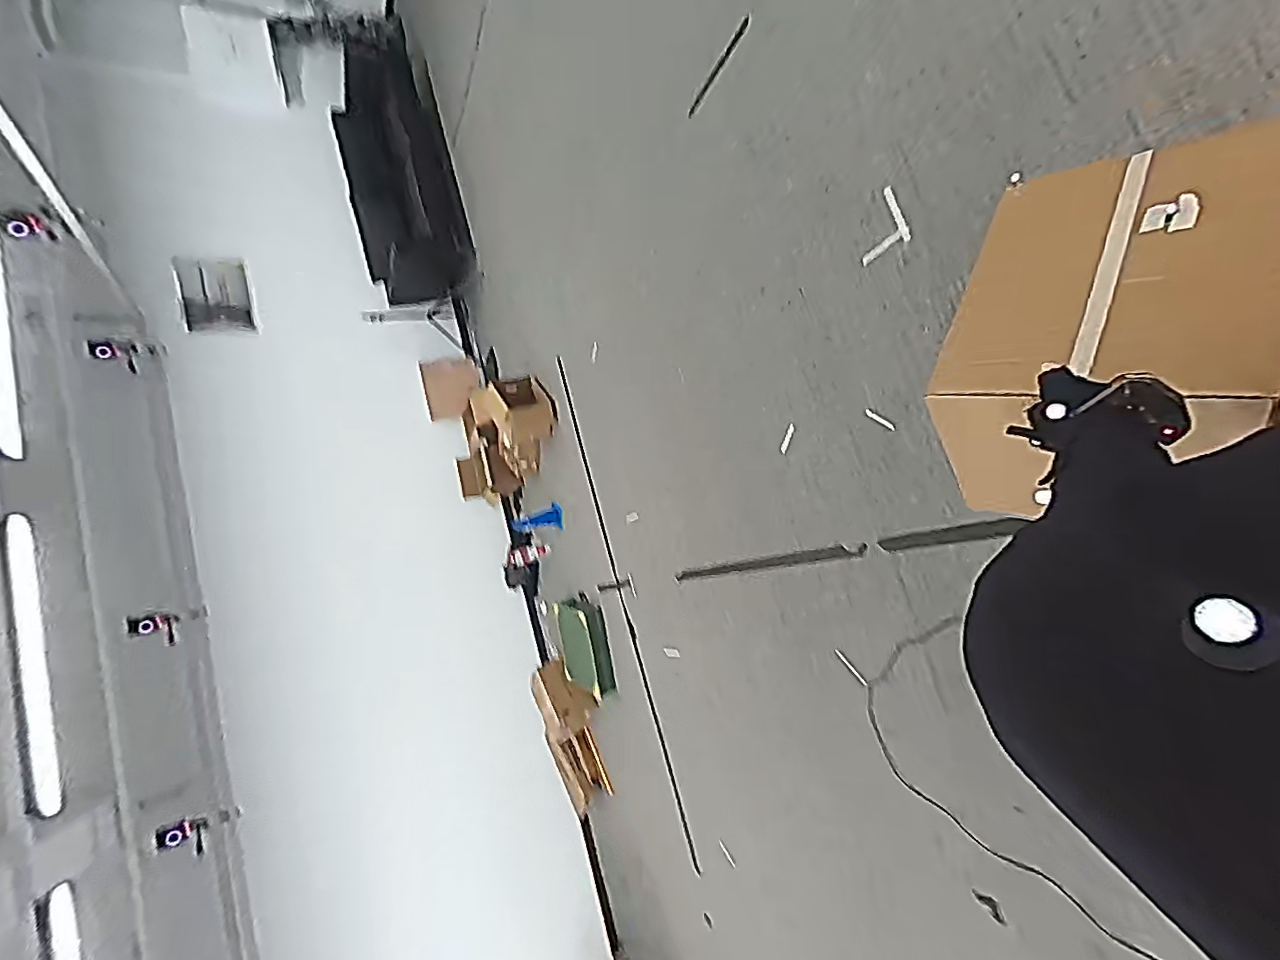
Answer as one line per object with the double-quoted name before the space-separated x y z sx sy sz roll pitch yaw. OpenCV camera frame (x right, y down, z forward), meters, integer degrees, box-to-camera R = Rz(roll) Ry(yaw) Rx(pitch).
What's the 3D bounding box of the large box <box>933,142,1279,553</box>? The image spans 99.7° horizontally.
"large box" 0.662 -0.162 0.753 0.320 0.320 0.408 10 64 46
